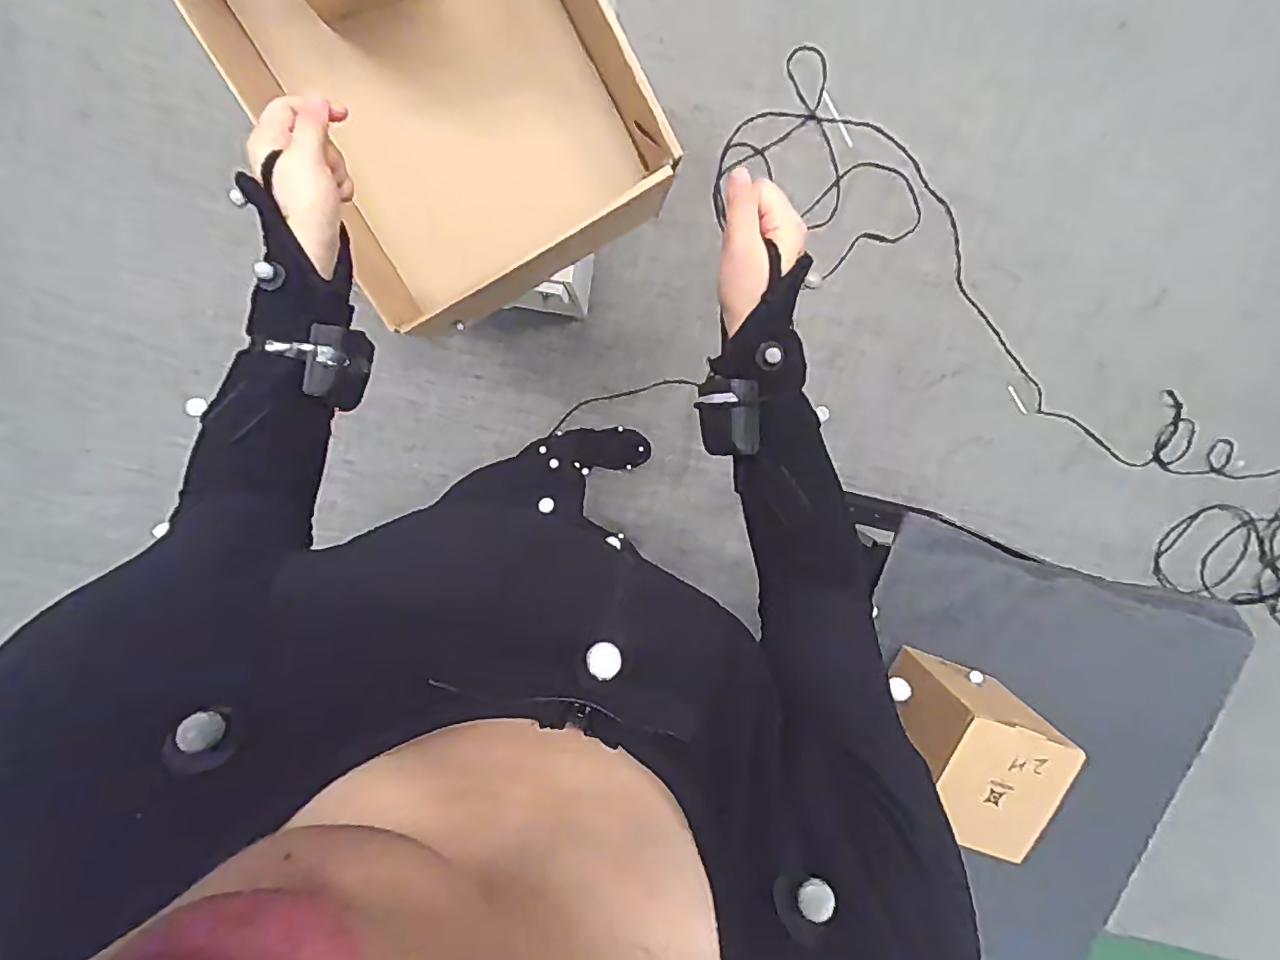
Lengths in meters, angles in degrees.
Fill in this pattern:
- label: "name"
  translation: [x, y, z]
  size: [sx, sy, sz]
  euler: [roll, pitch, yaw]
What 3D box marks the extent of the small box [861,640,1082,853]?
- label: "small box"
  translation: [0.437, 0.358, 0.751]
  size: [0.168, 0.176, 0.179]
  euler: [21, 99, -7]
